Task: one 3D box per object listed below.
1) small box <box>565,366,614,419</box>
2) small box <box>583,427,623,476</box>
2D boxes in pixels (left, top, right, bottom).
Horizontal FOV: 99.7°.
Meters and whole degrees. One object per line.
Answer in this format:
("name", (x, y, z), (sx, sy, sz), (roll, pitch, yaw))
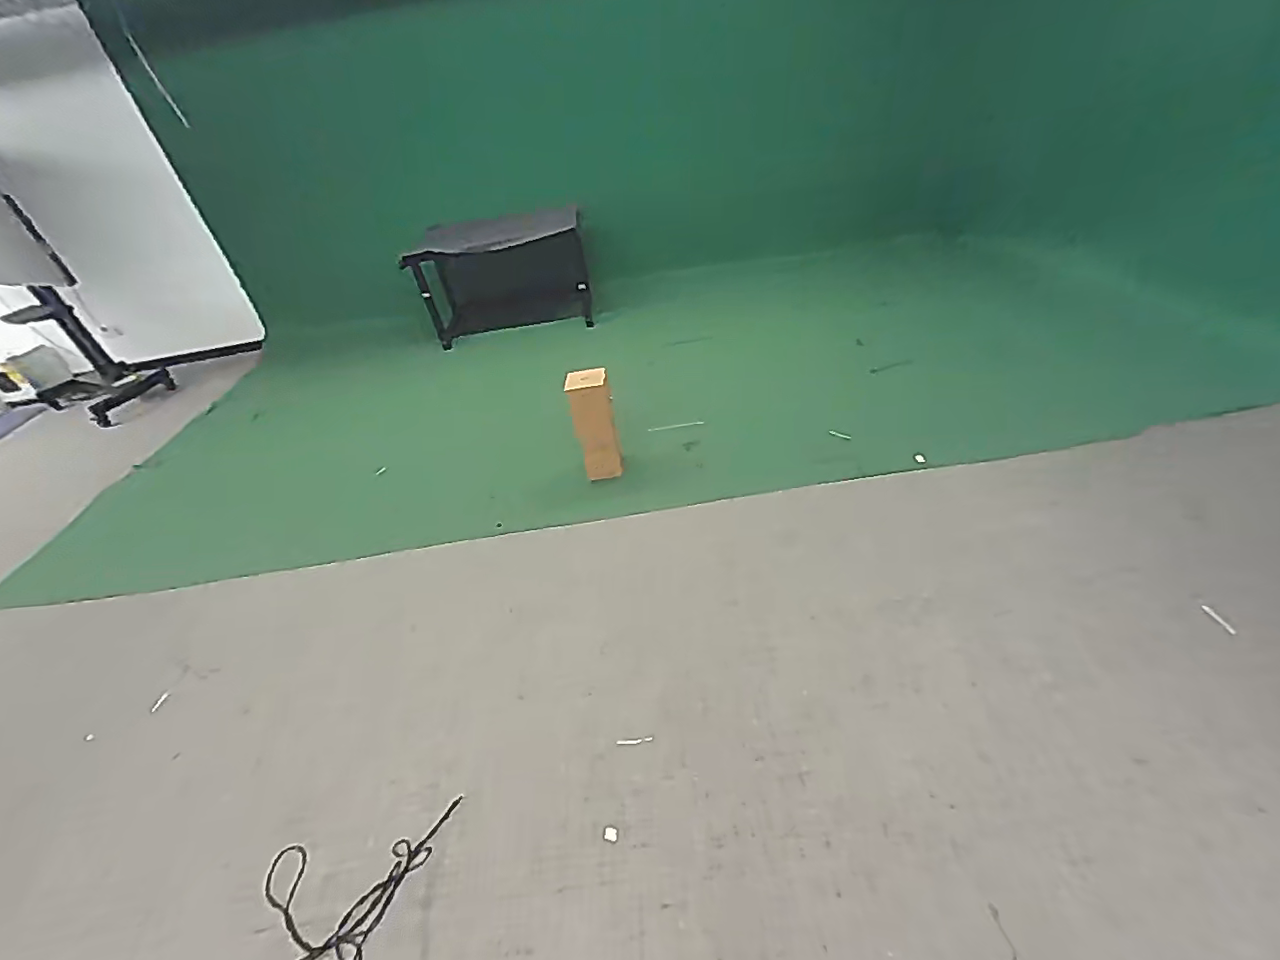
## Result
("small box", (-0.222, -0.385, 2.397), (0.179, 0.176, 0.168), (-7, 38, 5))
("small box", (-0.175, -0.131, 2.601), (0.168, 0.176, 0.179), (-9, 37, 3))
